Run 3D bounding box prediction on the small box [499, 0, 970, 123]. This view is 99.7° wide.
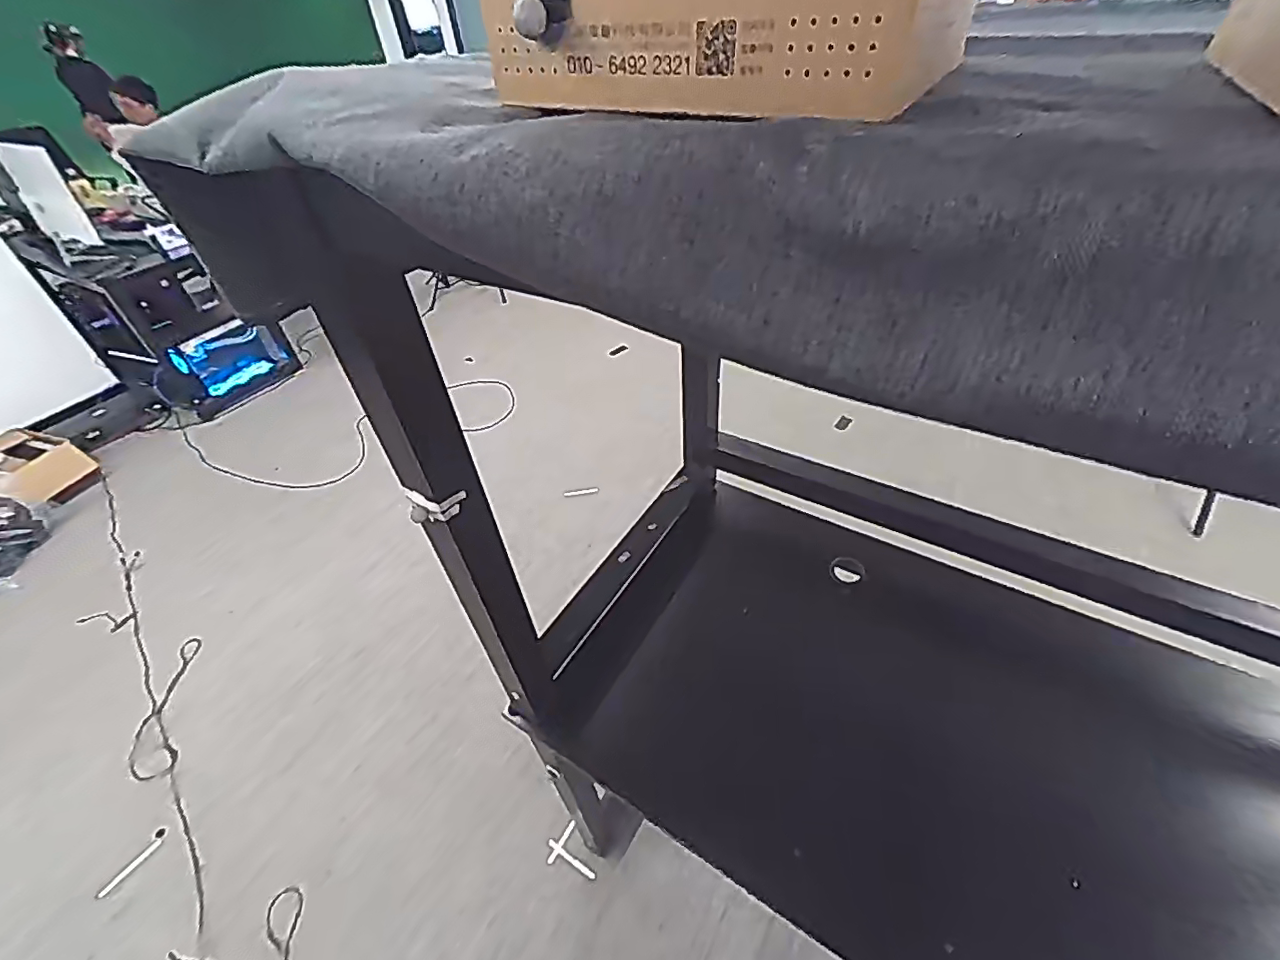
[{"bbox_3d":[0.048,-0.247,0.205,0.168,0.176,0.179,20,46,23],"label":"small box"}]
